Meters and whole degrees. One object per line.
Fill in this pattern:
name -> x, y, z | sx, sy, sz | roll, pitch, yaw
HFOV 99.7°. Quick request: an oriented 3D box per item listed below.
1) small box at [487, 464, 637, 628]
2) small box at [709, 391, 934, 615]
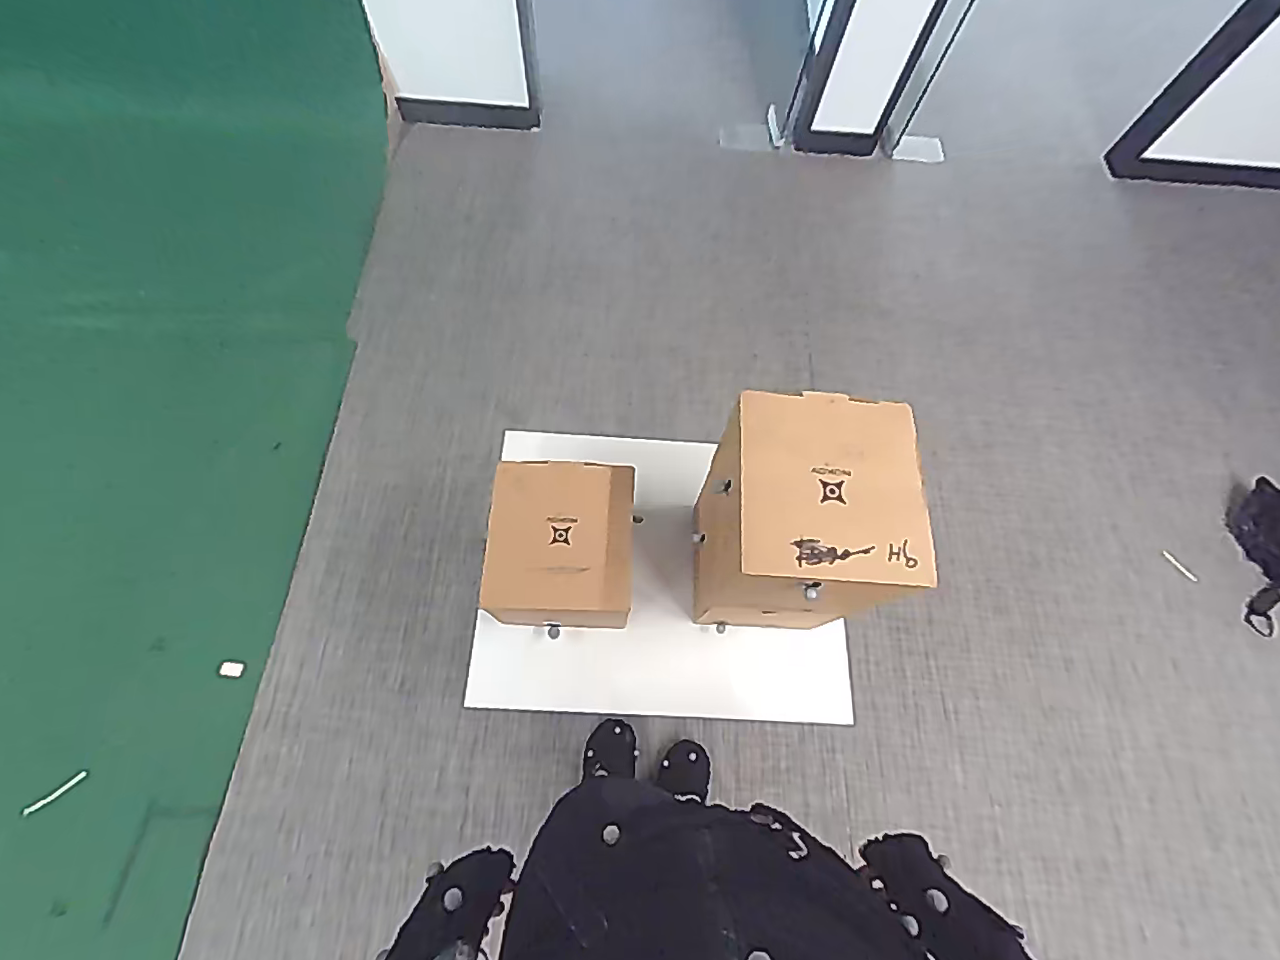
small box -> -0.090, 0.091, 0.694 | 0.168, 0.176, 0.179 | 0, 70, -2
small box -> 0.163, 0.032, 0.551 | 0.168, 0.176, 0.179 | 3, 68, -1
